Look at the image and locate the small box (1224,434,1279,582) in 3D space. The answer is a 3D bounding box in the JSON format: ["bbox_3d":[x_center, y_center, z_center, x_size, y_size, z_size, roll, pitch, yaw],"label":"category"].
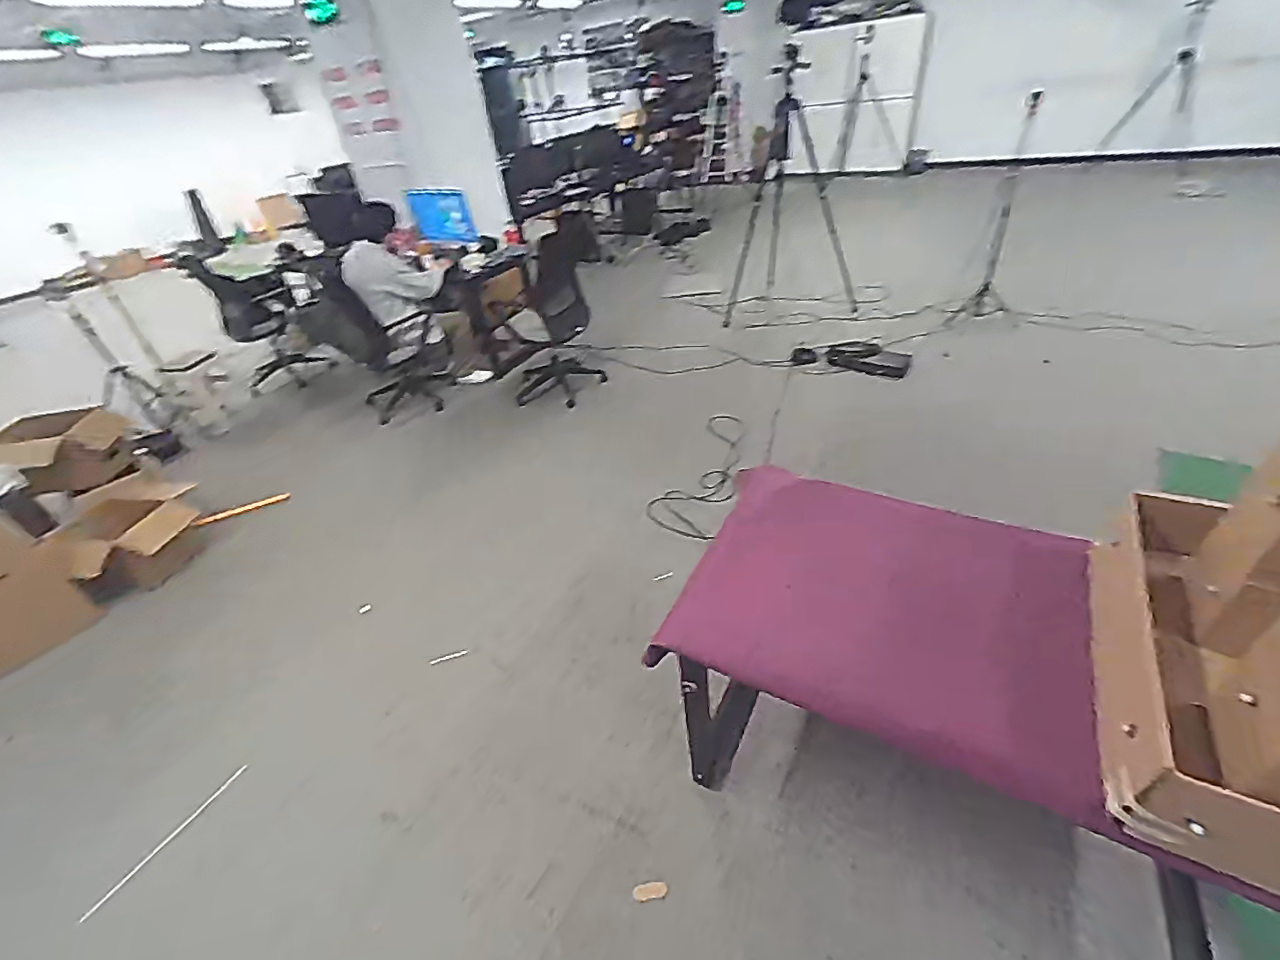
[{"bbox_3d":[1.032,0.058,0.806,0.168,0.176,0.179,16,44,29],"label":"small box"}]
